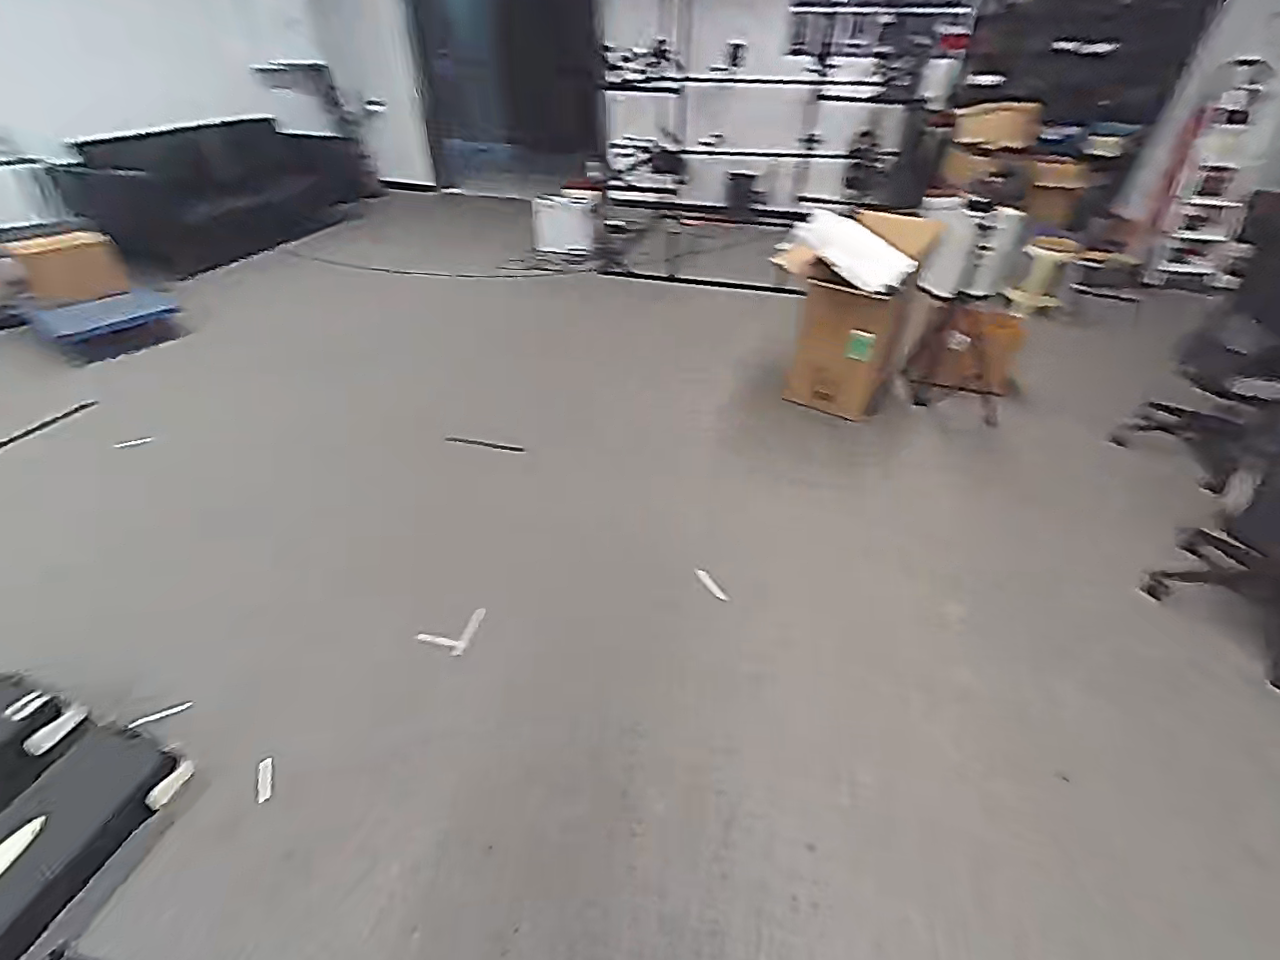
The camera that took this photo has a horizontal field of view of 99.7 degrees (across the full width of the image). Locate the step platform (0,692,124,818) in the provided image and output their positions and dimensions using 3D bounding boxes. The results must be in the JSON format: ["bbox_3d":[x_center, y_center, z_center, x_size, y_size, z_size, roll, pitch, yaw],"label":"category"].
[{"bbox_3d":[-1.552,0.795,1.124,0.286,0.204,0.684,12,37,16],"label":"step platform"}]
